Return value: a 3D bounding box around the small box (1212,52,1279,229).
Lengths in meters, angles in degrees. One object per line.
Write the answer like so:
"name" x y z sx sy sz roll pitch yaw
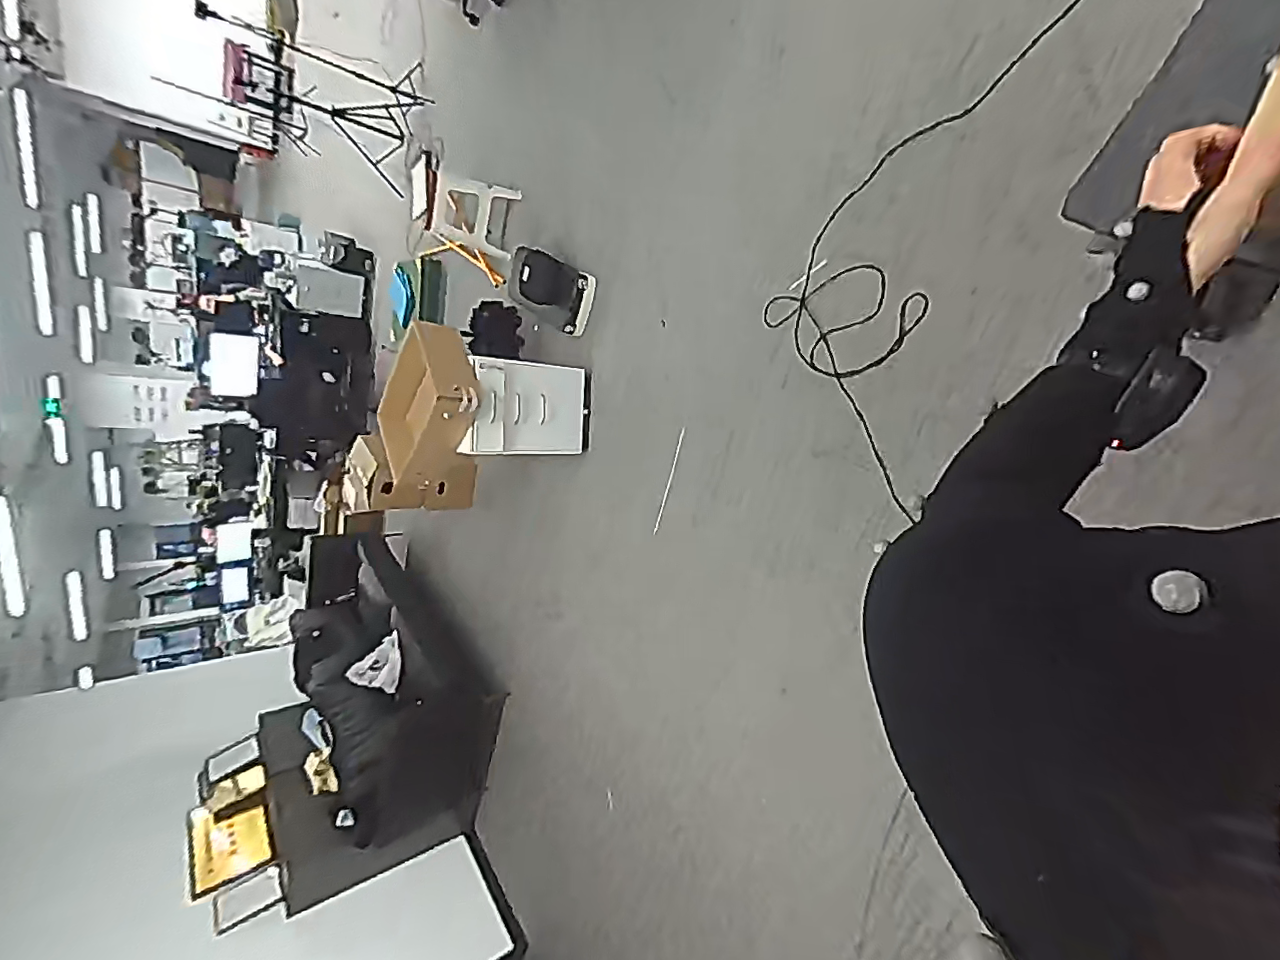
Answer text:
"small box" 0.559 -0.277 0.379 0.168 0.176 0.179 30 123 42
